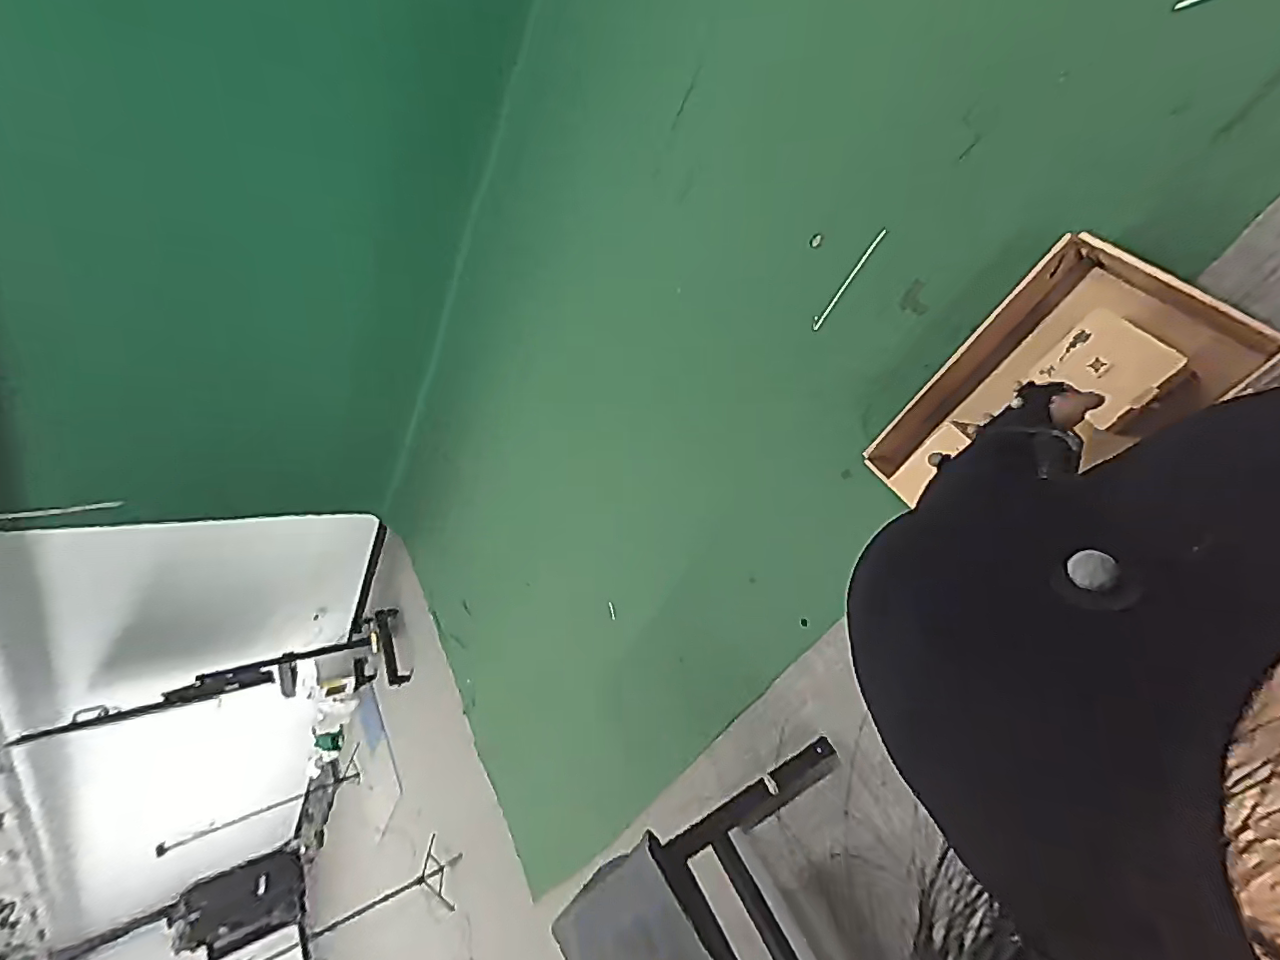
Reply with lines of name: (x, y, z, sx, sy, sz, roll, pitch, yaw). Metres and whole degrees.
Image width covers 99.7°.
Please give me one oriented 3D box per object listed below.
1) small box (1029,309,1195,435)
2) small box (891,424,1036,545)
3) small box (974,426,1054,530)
small box: (0.917, -0.205, 1.050, 0.179, 0.176, 0.168, 55, 129, 29)
small box: (0.657, 0.007, 1.091, 0.168, 0.176, 0.179, 55, 128, 31)
small box: (0.774, 0.001, 1.206, 0.168, 0.176, 0.179, 54, 126, 31)
